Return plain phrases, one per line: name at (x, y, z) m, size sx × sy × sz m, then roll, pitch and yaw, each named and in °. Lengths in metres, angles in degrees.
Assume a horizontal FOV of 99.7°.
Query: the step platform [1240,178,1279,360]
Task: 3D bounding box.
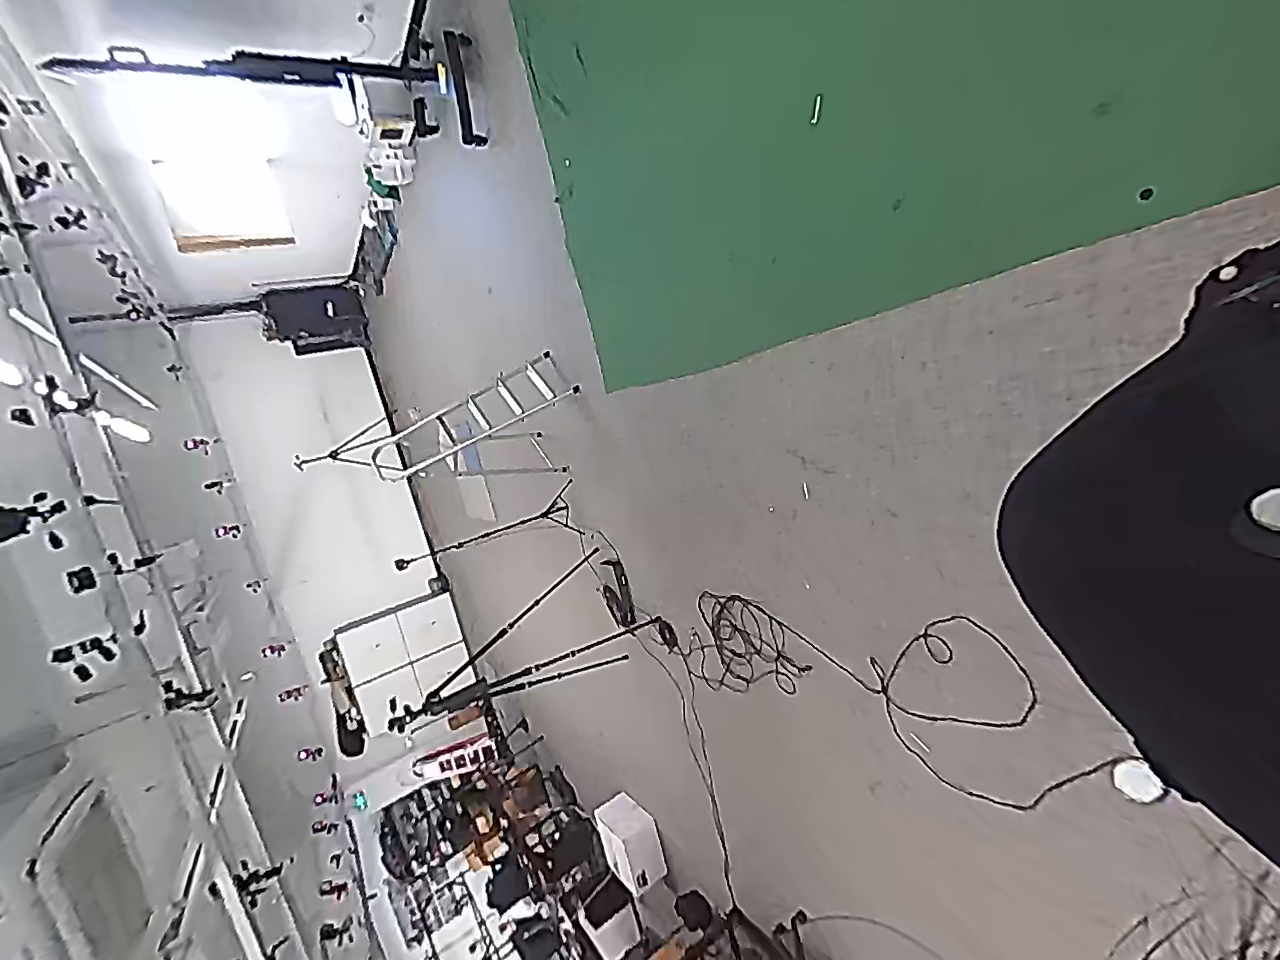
step platform at (1.230, -0.359, 0.632) m, size 0.684 × 0.204 × 0.286 m, roll -4°, pitch 104°, yaw 58°
